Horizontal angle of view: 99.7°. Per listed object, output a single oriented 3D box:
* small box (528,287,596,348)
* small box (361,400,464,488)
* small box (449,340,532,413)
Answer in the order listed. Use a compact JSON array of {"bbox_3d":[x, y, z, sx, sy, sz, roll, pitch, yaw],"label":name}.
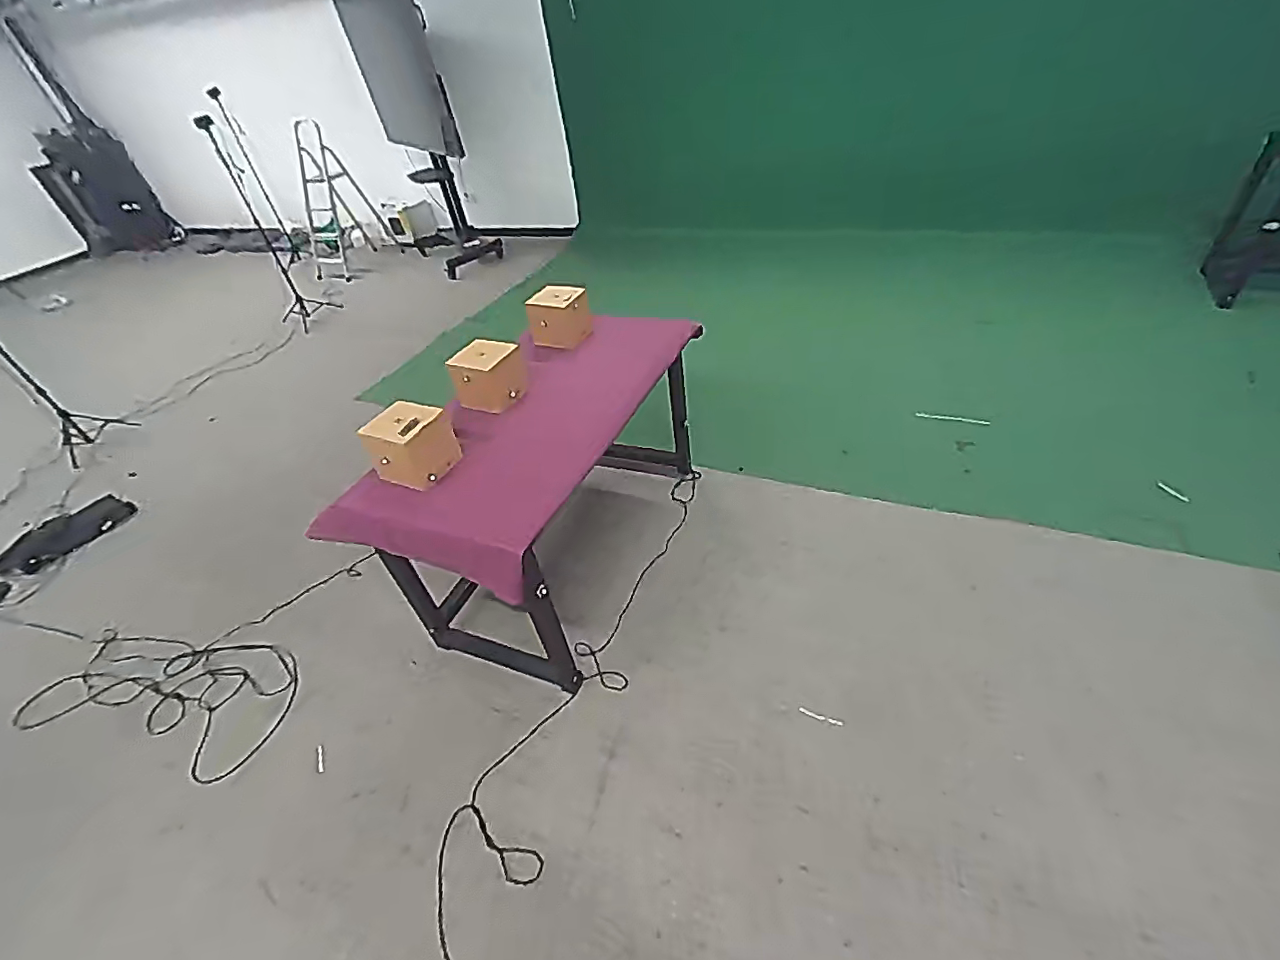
[{"bbox_3d":[-0.289,-0.613,2.042,0.179,0.176,0.168,12,46,23],"label":"small box"},{"bbox_3d":[-0.626,-0.097,1.510,0.179,0.176,0.168,13,45,23],"label":"small box"},{"bbox_3d":[-0.480,-0.336,1.764,0.179,0.176,0.168,14,47,24],"label":"small box"}]
